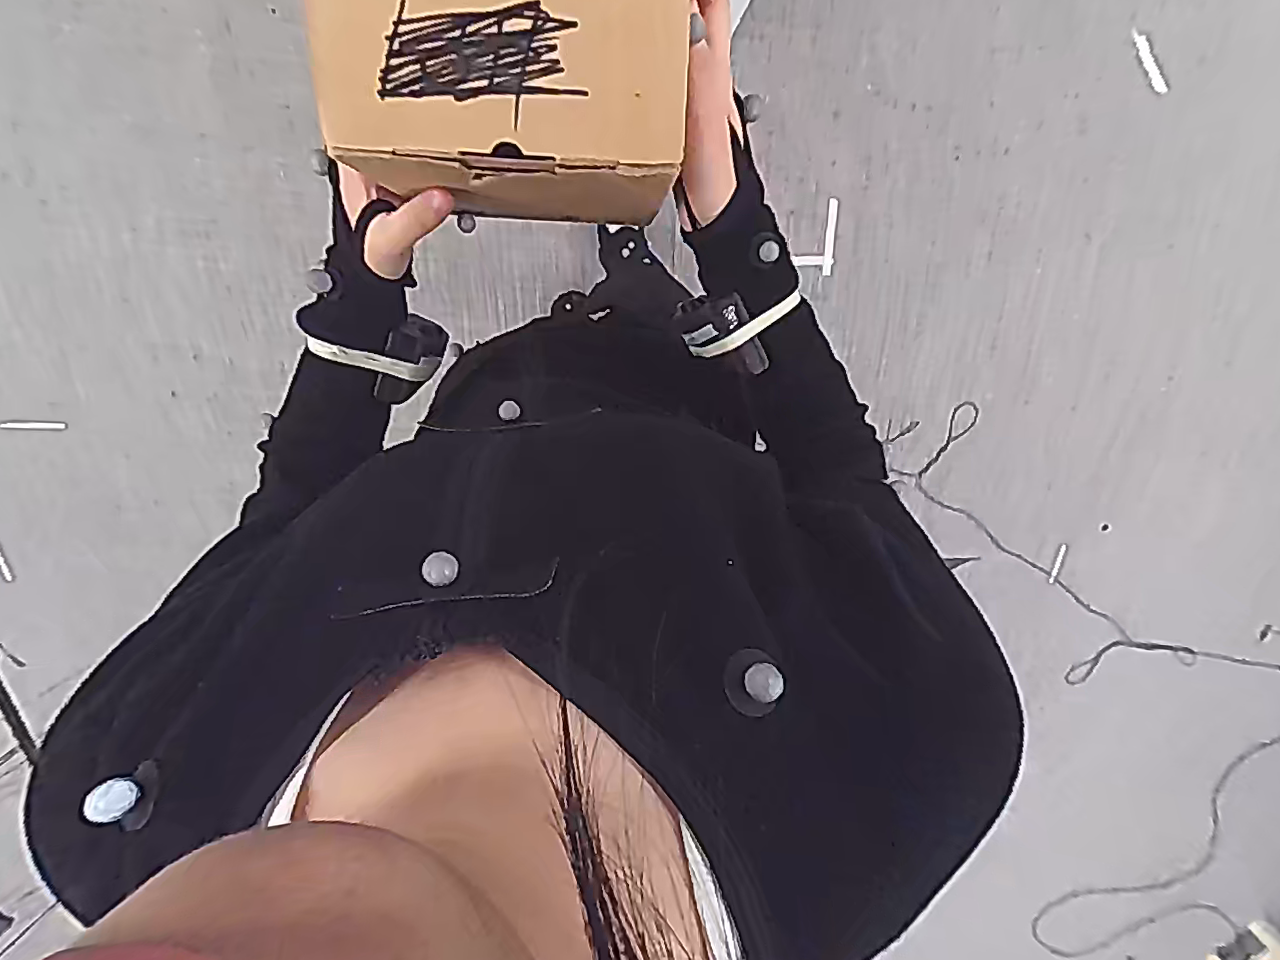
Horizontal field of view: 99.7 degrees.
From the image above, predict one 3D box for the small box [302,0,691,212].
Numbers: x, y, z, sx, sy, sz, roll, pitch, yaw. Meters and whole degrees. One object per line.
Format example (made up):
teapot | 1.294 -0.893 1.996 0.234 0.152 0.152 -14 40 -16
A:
small box | -0.062 -0.256 0.295 0.168 0.176 0.179 1 106 -5
